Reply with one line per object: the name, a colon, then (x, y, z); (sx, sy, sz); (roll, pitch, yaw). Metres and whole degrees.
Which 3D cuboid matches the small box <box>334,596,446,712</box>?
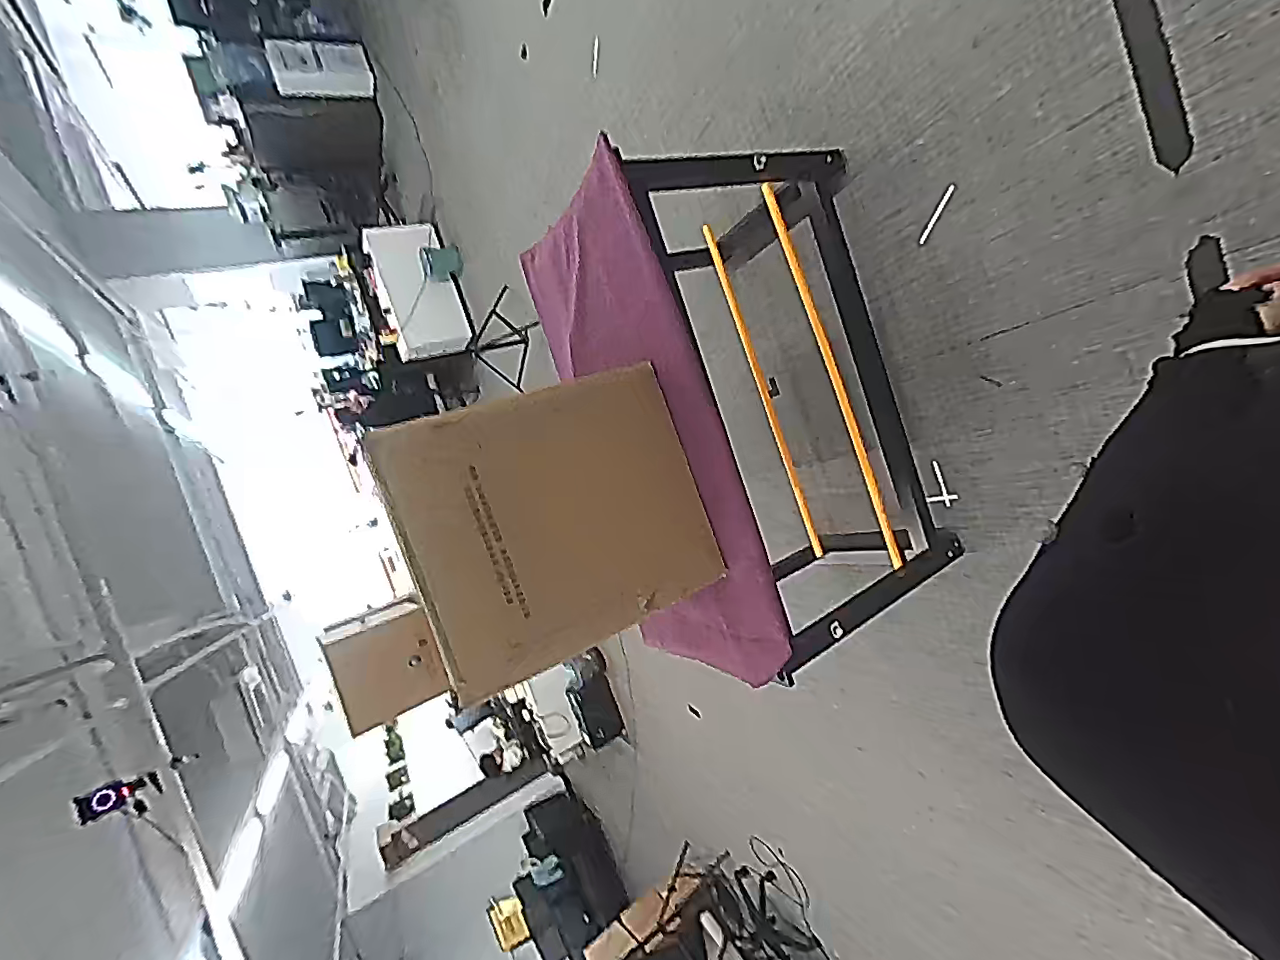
small box: (-0.534, 0.359, 1.159); (0.168, 0.176, 0.179); (-20, 90, 63)
